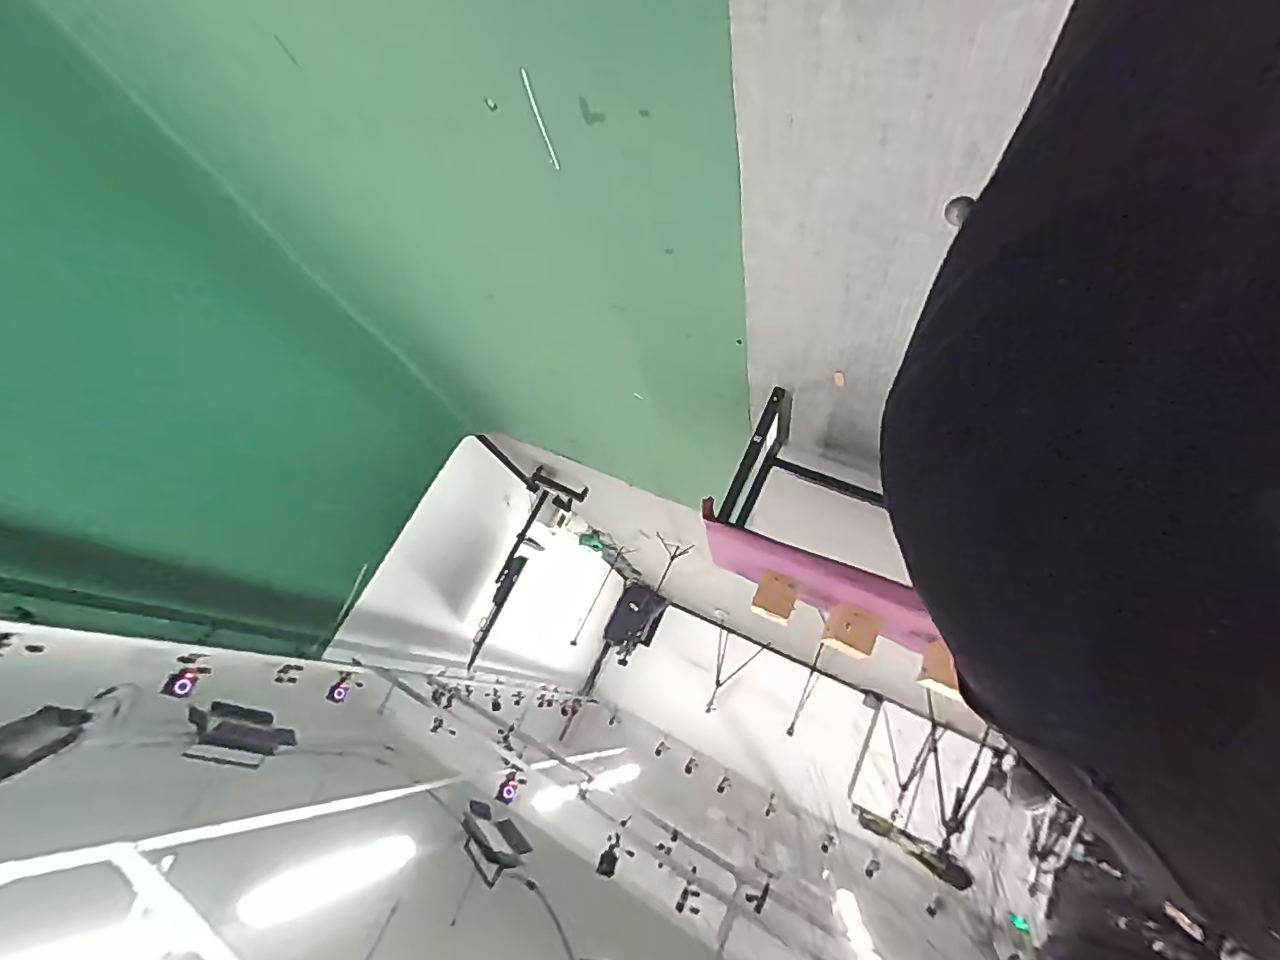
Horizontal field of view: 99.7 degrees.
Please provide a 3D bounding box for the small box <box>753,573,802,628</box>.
[{"bbox_3d":[0.604,0.527,2.377,0.168,0.176,0.179,21,163,21],"label":"small box"}]

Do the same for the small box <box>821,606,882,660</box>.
[{"bbox_3d":[0.890,0.640,2.271,0.168,0.176,0.179,25,164,11],"label":"small box"}]

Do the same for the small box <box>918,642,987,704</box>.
[{"bbox_3d":[1.204,0.743,2.084,0.168,0.176,0.179,22,162,20],"label":"small box"}]
